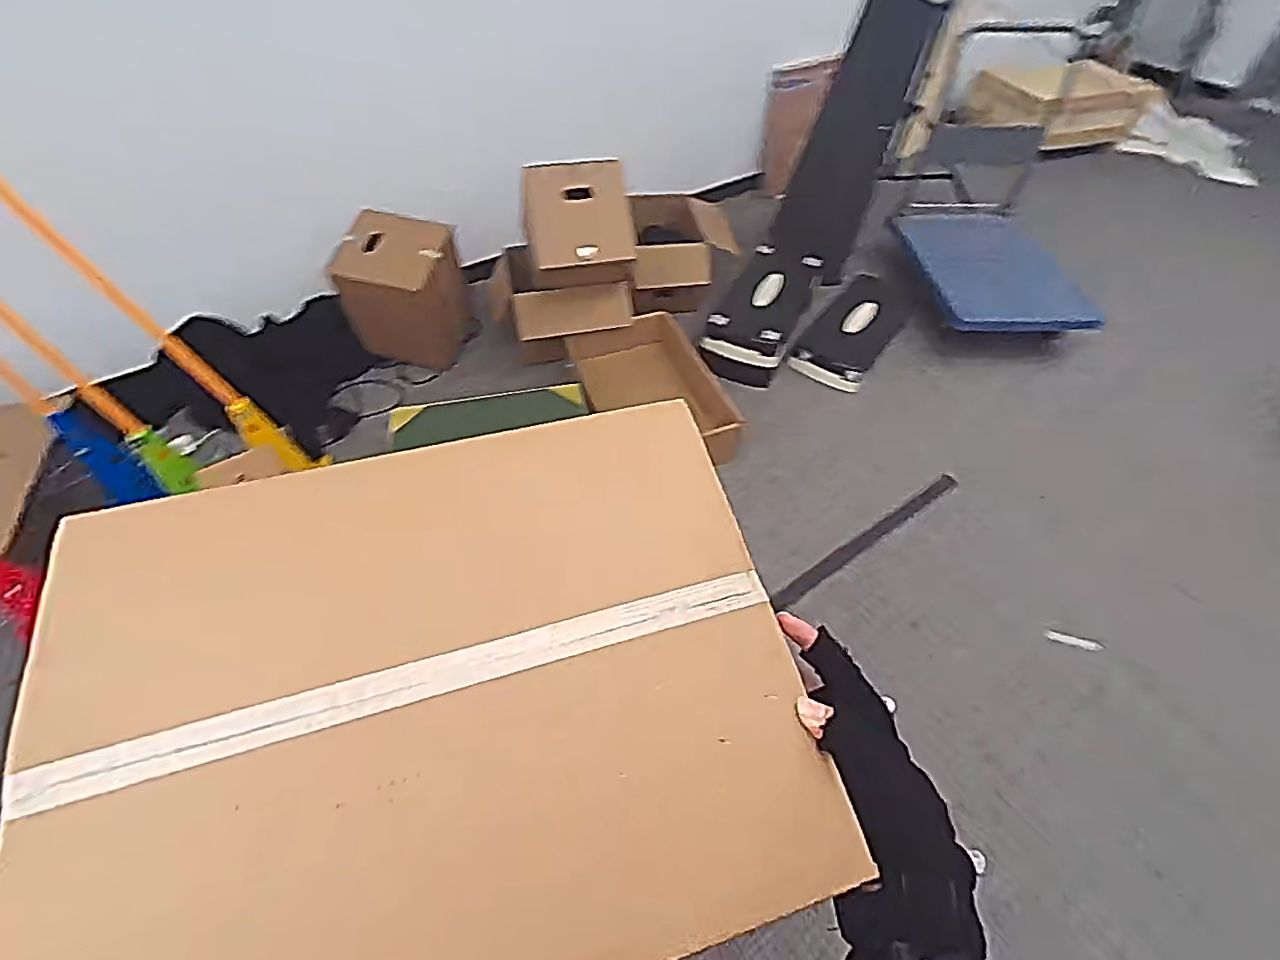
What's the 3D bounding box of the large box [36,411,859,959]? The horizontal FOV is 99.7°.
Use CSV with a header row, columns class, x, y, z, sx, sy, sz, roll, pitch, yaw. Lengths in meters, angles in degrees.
class,x,y,z,sx,sy,sz,roll,pitch,yaw
large box,-0.121,0.188,0.451,0.408,0.320,0.320,-12,64,-11
